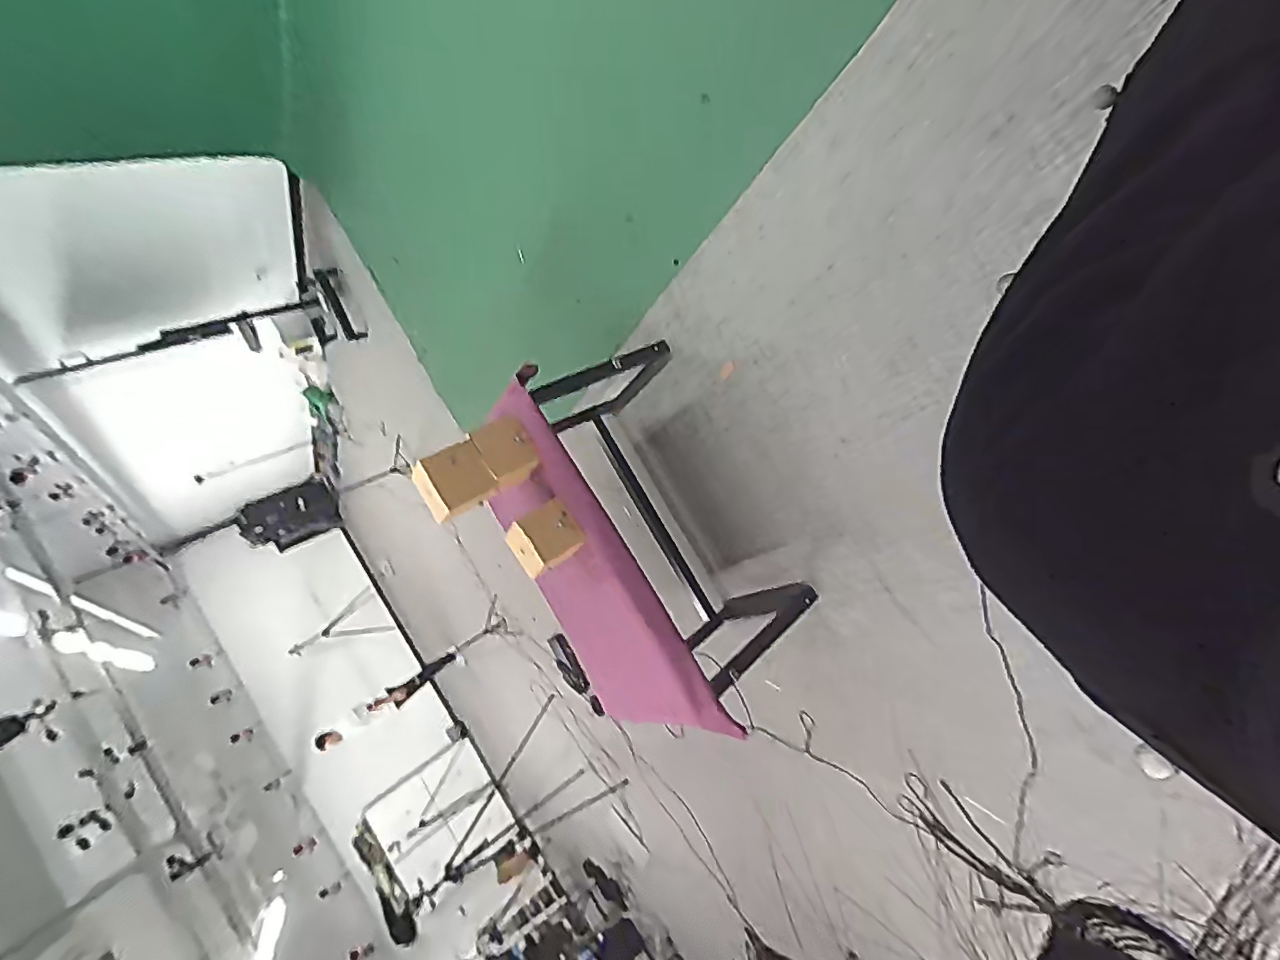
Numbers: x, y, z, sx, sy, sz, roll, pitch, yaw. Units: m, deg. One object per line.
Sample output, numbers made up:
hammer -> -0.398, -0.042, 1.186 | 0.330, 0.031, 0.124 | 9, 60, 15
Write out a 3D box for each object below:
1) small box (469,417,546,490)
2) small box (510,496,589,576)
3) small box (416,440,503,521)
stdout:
small box -> -0.431, -0.083, 1.724 | 0.179, 0.176, 0.168 | 56, 145, 6
small box -> -0.289, 0.178, 1.731 | 0.168, 0.176, 0.179 | 55, 146, 7
small box -> -0.546, -0.004, 1.637 | 0.179, 0.176, 0.168 | 59, 145, 0
